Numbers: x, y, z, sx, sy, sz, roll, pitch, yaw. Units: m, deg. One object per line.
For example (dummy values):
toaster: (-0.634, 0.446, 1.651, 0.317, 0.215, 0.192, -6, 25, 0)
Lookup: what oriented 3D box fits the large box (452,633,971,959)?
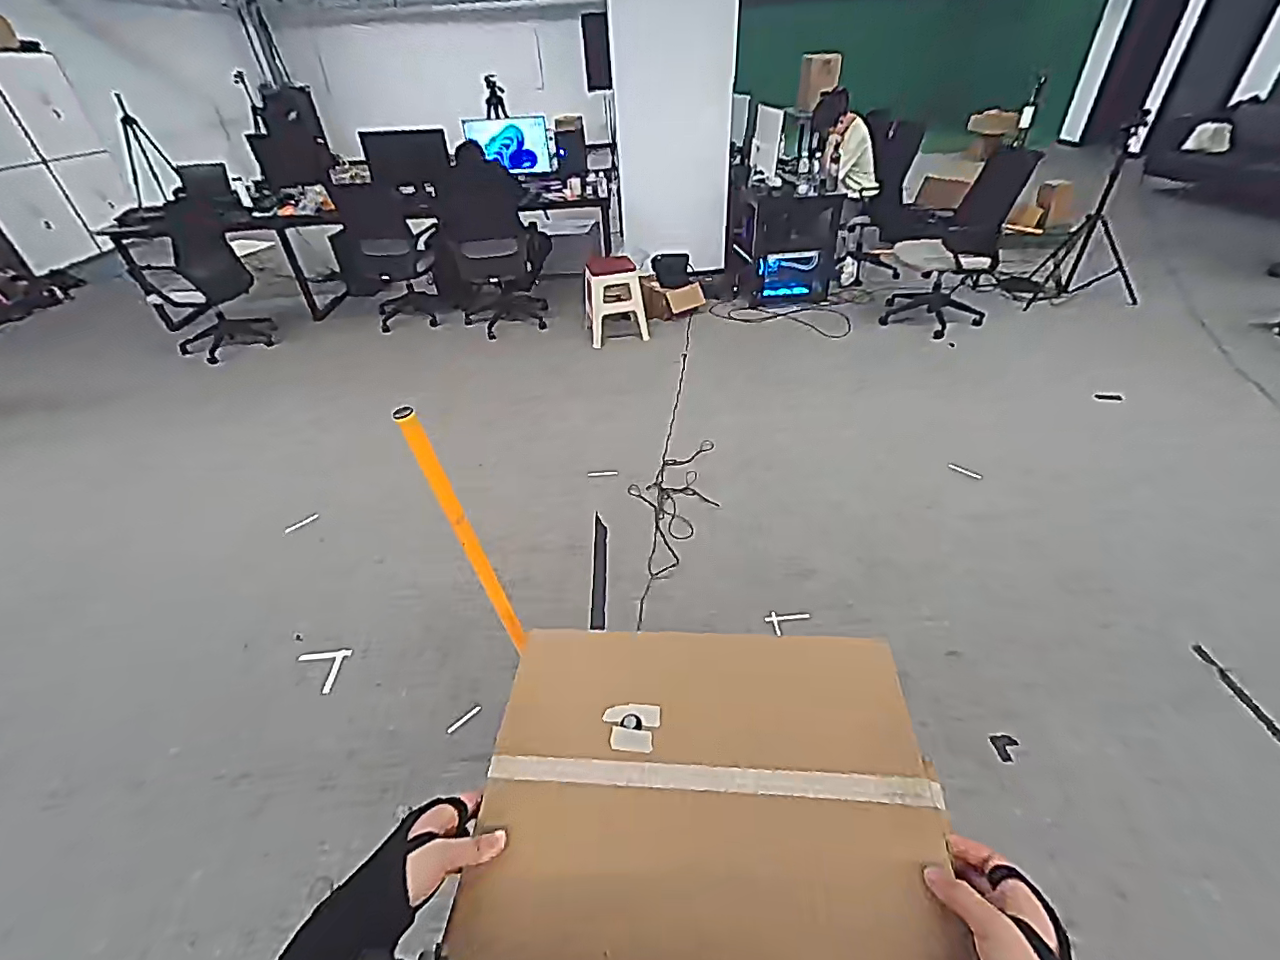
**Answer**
large box: (0.077, 0.391, 0.607, 0.408, 0.320, 0.320, -2, 40, 9)
